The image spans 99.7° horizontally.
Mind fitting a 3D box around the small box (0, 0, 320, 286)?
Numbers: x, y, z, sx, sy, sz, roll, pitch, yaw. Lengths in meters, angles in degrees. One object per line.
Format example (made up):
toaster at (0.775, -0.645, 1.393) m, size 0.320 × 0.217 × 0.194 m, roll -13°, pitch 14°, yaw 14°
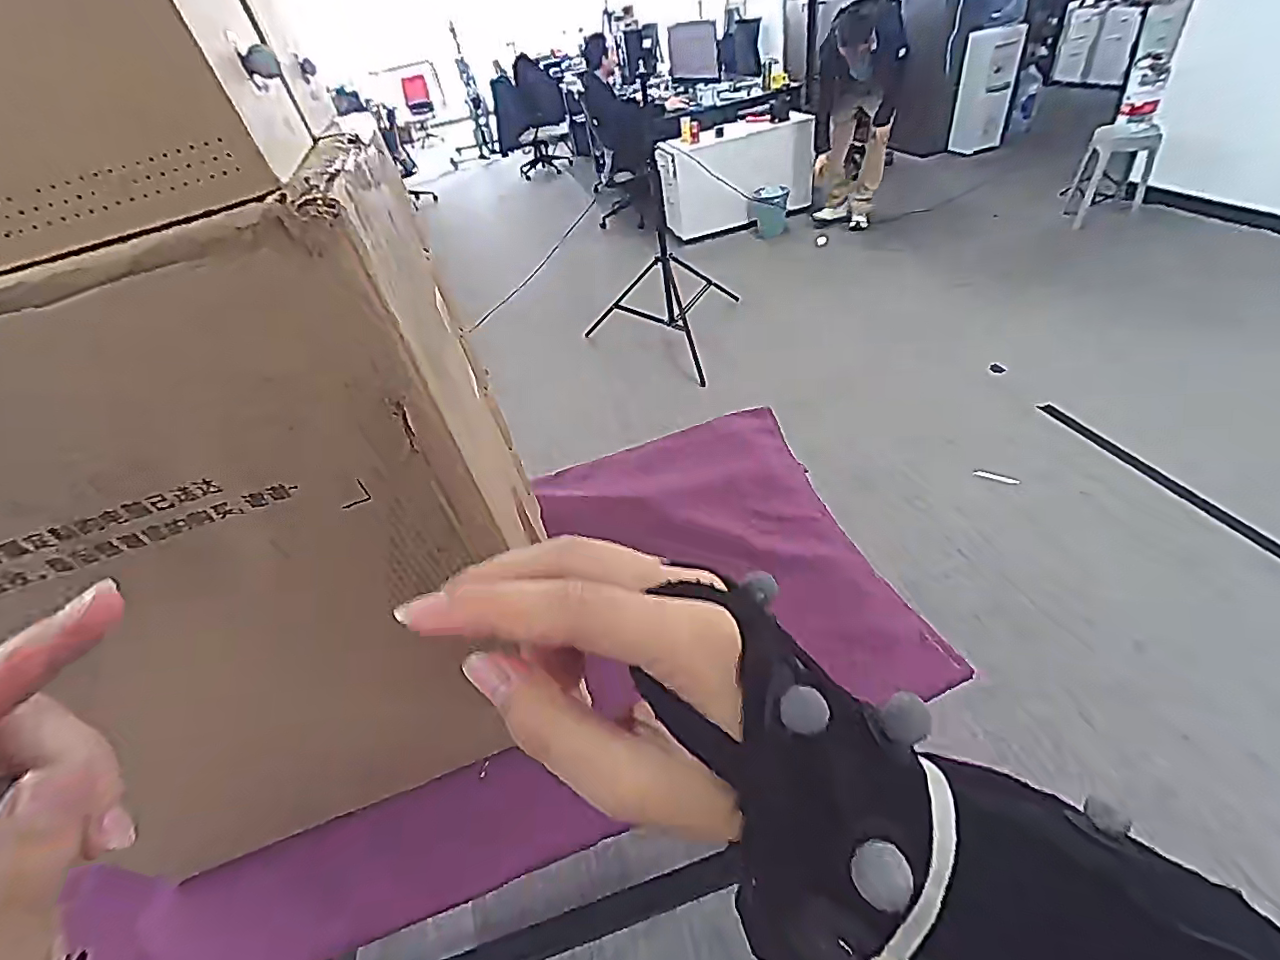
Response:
small box at (-0.306, -0.220, 0.279) m, size 0.179 × 0.176 × 0.168 m, roll -22°, pitch 43°, yaw -8°
